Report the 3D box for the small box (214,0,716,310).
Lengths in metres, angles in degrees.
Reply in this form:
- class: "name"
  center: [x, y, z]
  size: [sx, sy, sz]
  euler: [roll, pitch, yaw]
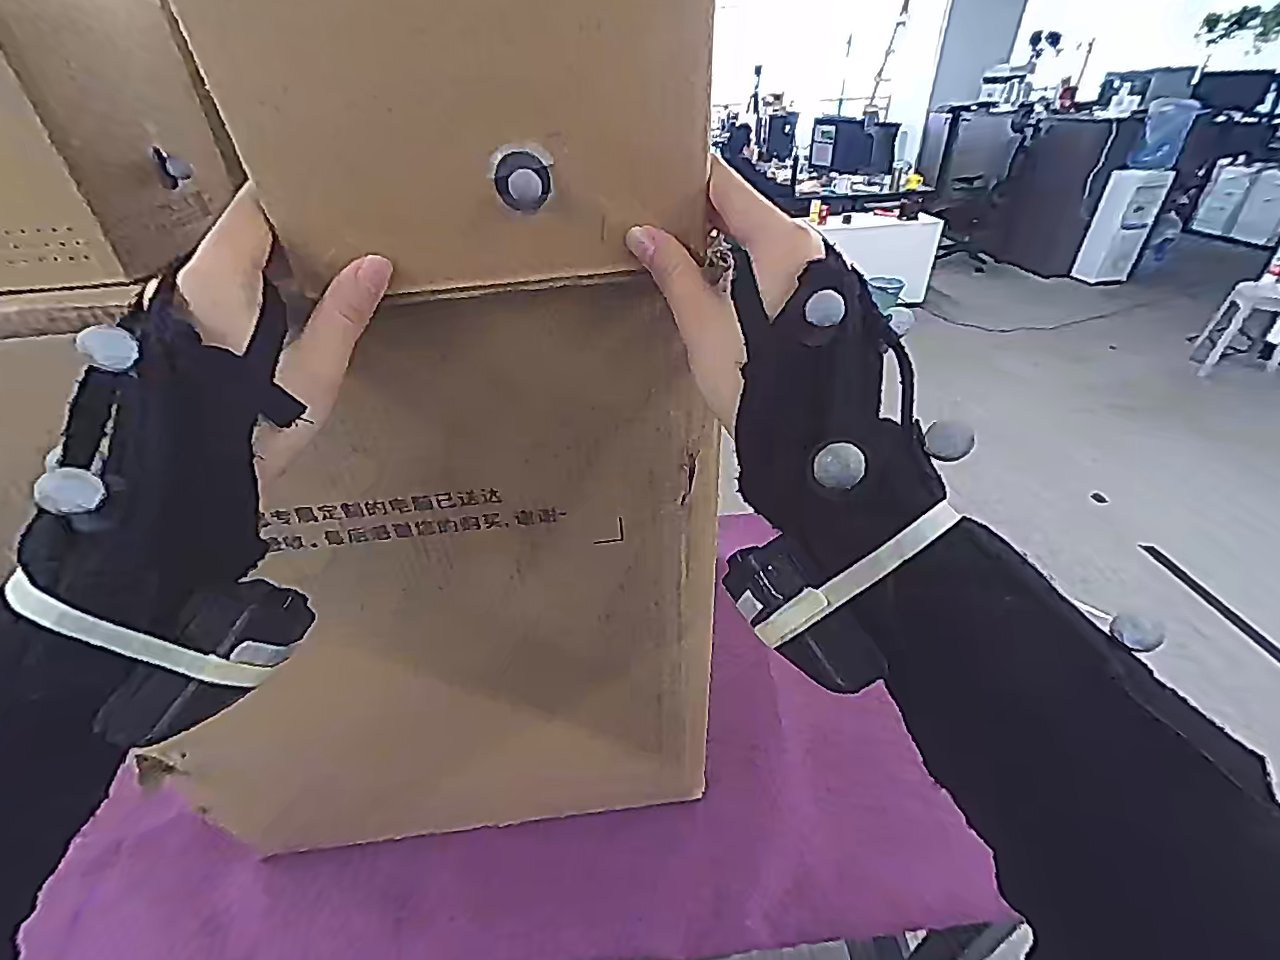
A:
- class: "small box"
  center: [-0.066, -0.199, 0.248]
  size: [0.179, 0.176, 0.168]
  euler: [-7, 40, -5]
